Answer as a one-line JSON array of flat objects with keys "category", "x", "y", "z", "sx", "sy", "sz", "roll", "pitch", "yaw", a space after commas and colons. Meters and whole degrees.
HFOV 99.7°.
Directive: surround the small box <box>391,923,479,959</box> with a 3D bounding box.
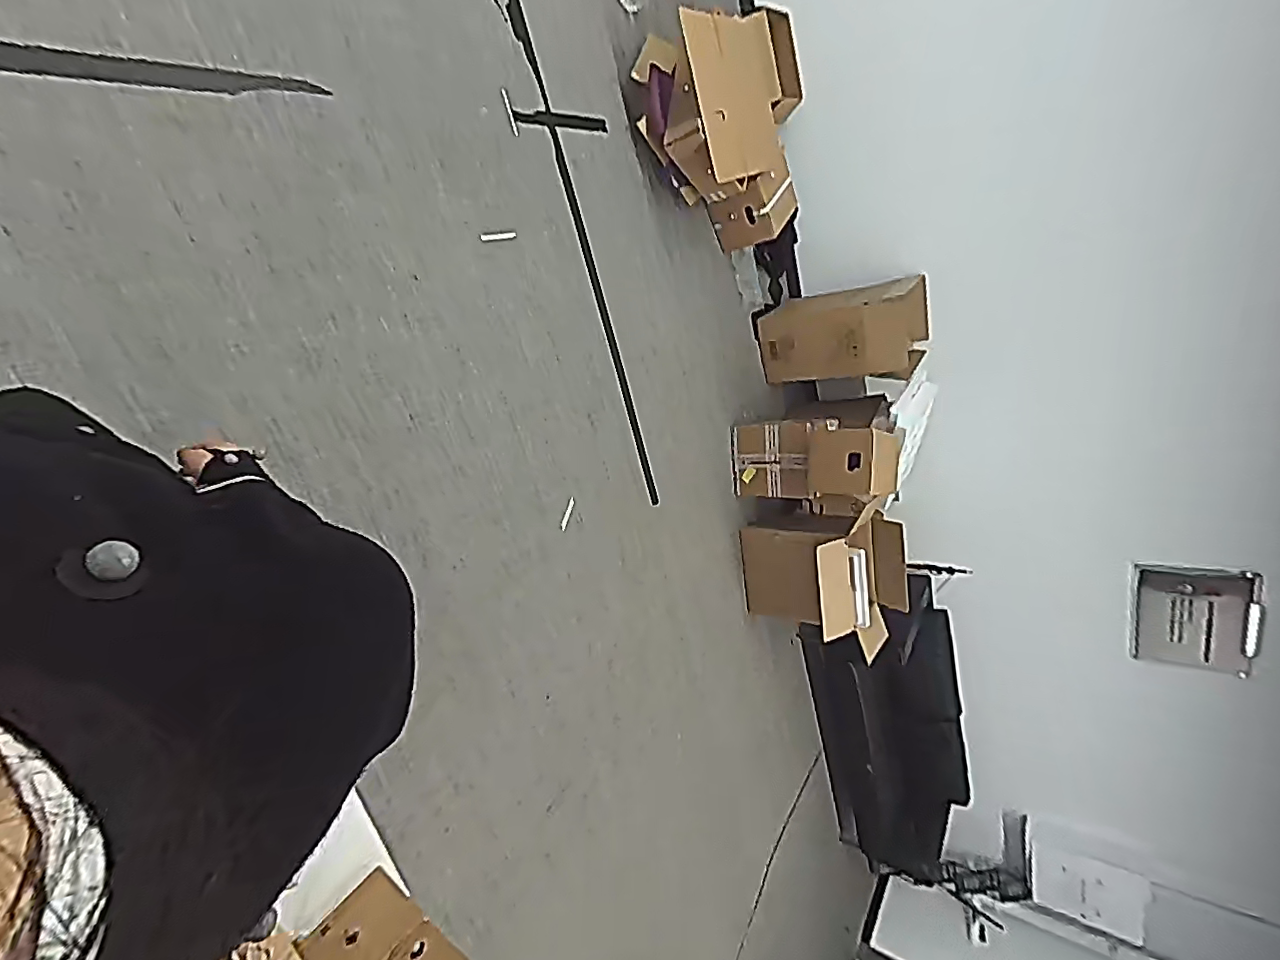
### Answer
[{"category": "small box", "x": -0.292, "y": 0.778, "z": 0.757, "sx": 0.168, "sy": 0.176, "sz": 0.179, "roll": -36, "pitch": 118, "yaw": -44}]
